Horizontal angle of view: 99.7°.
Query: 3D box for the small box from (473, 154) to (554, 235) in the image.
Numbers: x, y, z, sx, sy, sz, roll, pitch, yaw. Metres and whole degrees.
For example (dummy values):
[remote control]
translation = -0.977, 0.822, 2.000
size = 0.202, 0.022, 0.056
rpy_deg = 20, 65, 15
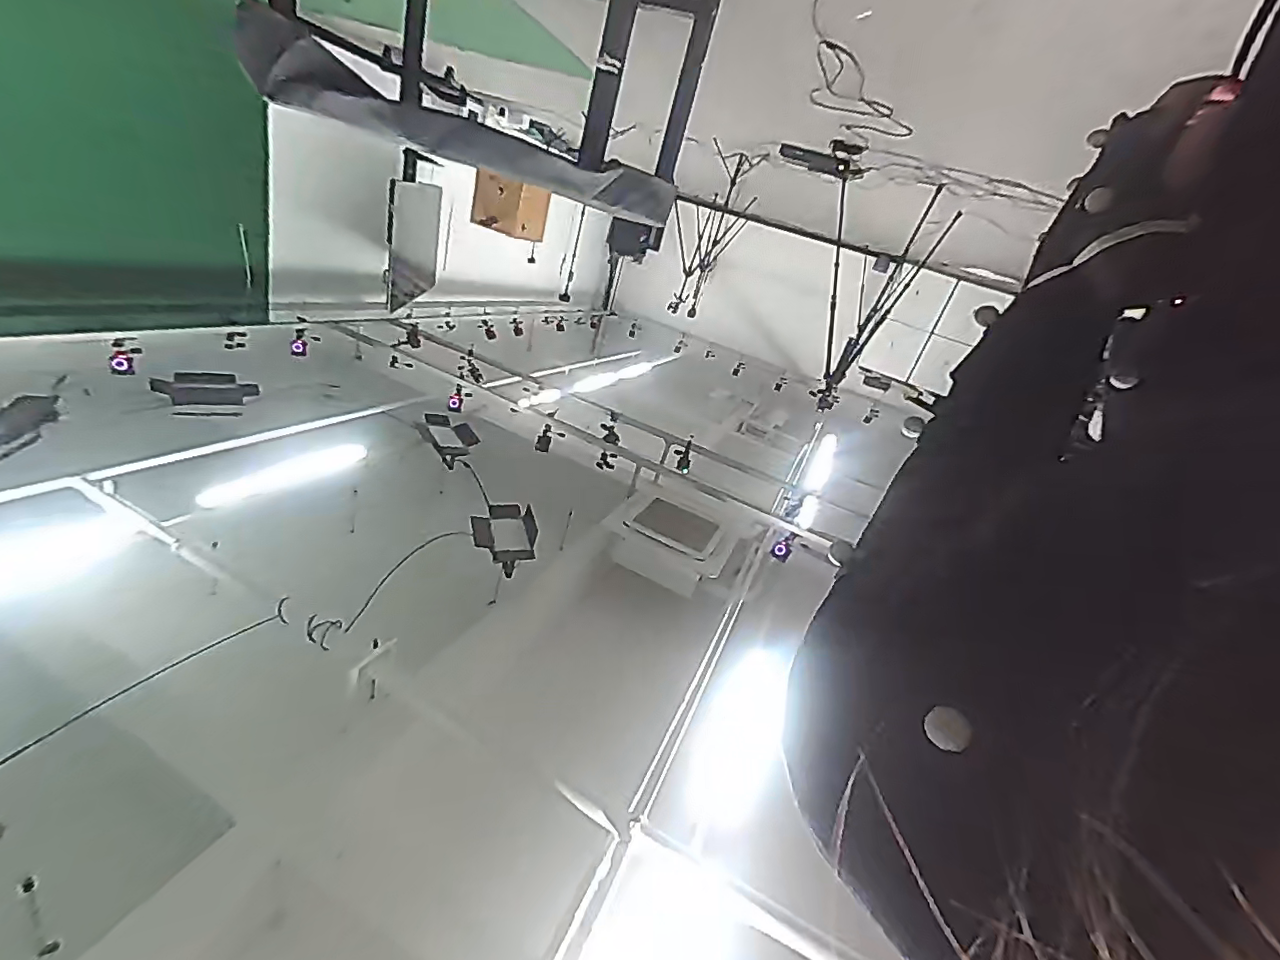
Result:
[small box]
translation = -0.387, -0.881, 1.676
size = 0.168, 0.176, 0.179
rpy_deg = 25, -155, 13
